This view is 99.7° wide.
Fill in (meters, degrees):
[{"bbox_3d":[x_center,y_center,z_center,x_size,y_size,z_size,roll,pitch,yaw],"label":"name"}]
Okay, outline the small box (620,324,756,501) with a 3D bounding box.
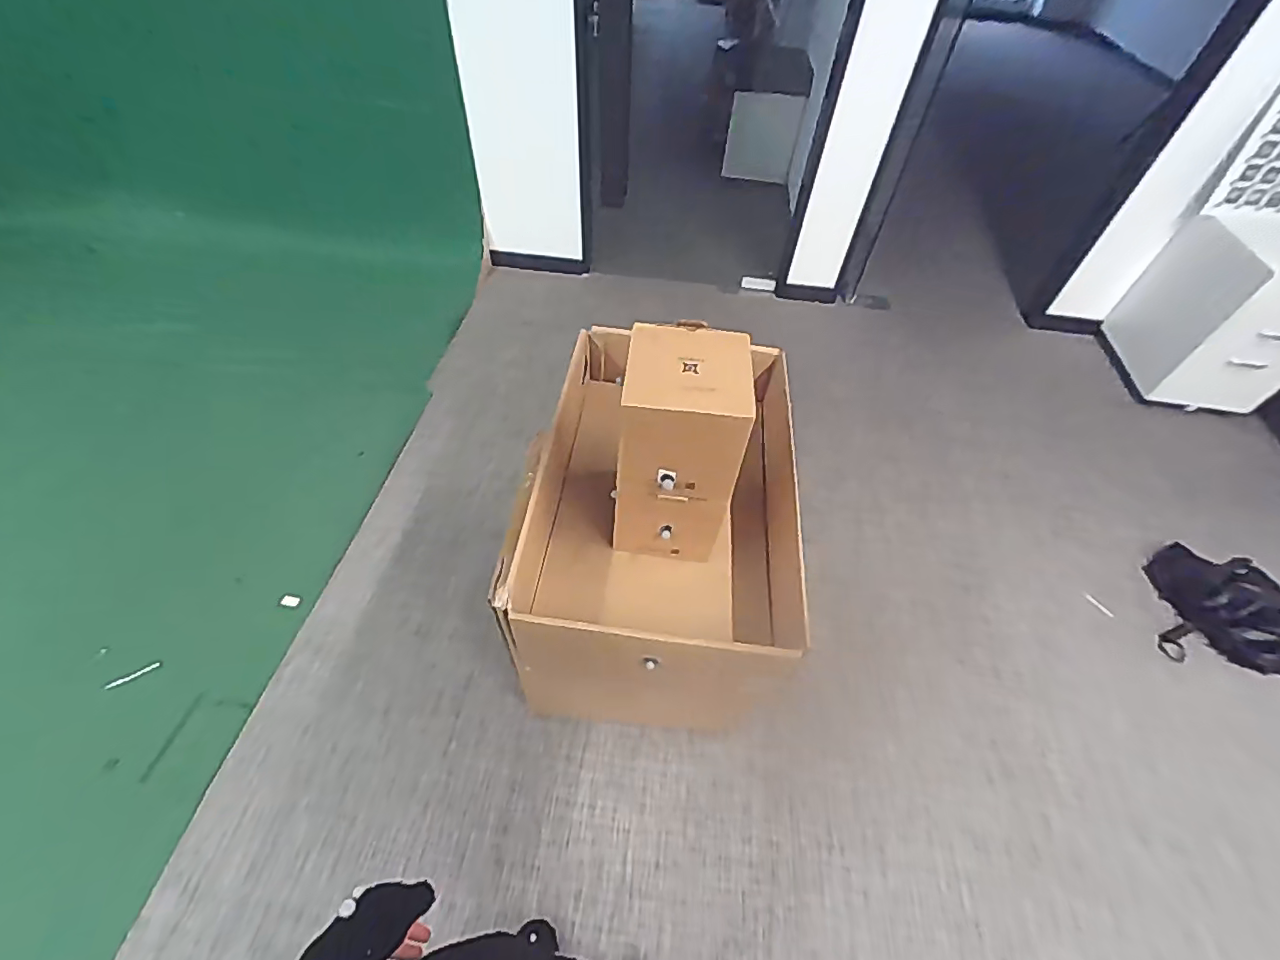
[{"bbox_3d":[0.062,-0.095,0.769,0.168,0.176,0.179,5,51,0],"label":"small box"}]
